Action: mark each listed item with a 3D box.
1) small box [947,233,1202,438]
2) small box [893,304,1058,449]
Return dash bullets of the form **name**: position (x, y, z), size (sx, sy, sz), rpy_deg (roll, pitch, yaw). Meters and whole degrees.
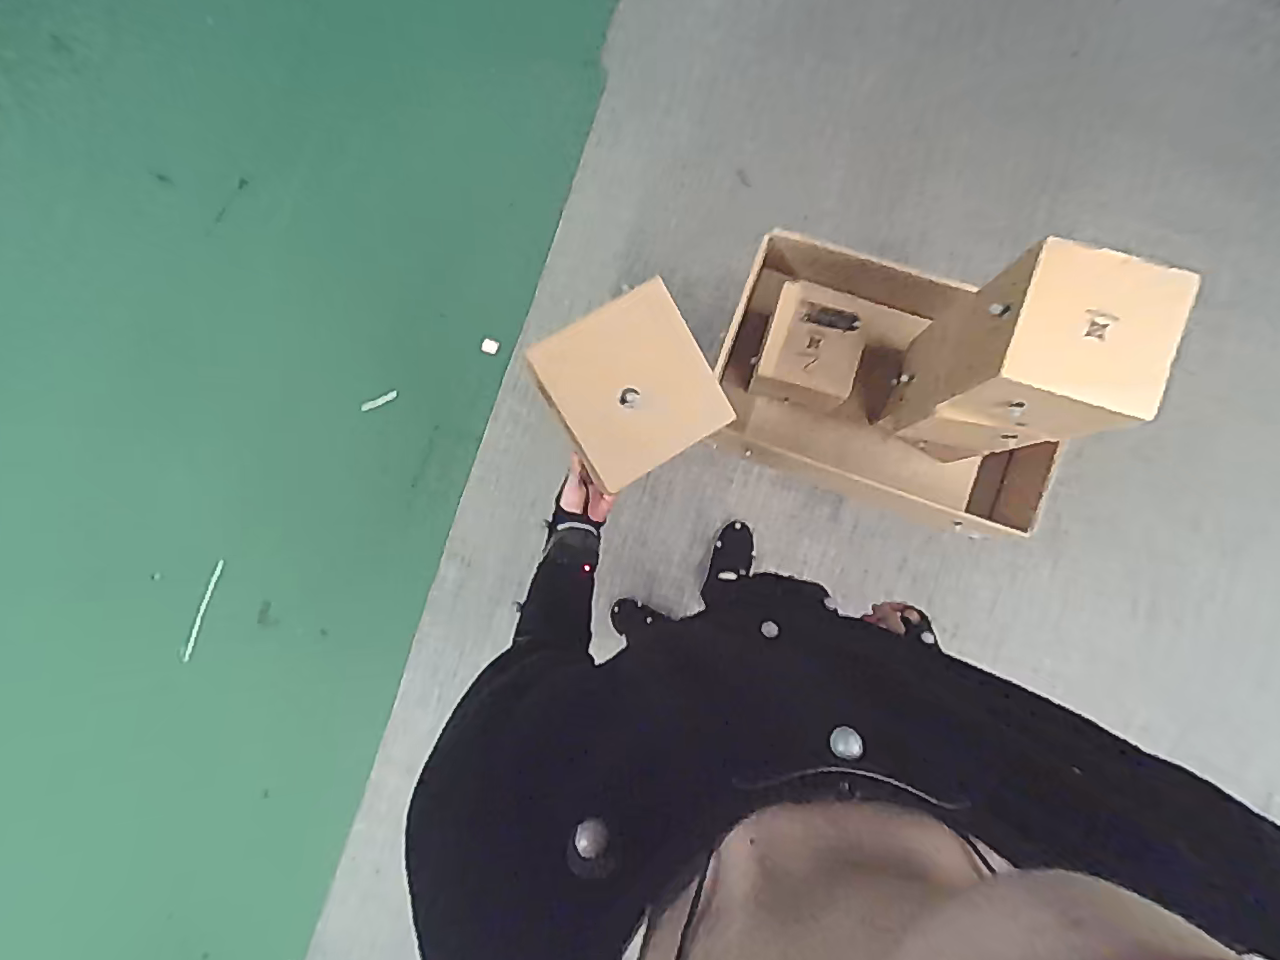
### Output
- **small box**: position (0.515, -0.164, 0.673), size (0.168, 0.176, 0.179), rpy_deg (20, 87, 8)
- **small box**: position (0.522, -0.148, 0.834), size (0.179, 0.176, 0.168), rpy_deg (11, 86, 7)
